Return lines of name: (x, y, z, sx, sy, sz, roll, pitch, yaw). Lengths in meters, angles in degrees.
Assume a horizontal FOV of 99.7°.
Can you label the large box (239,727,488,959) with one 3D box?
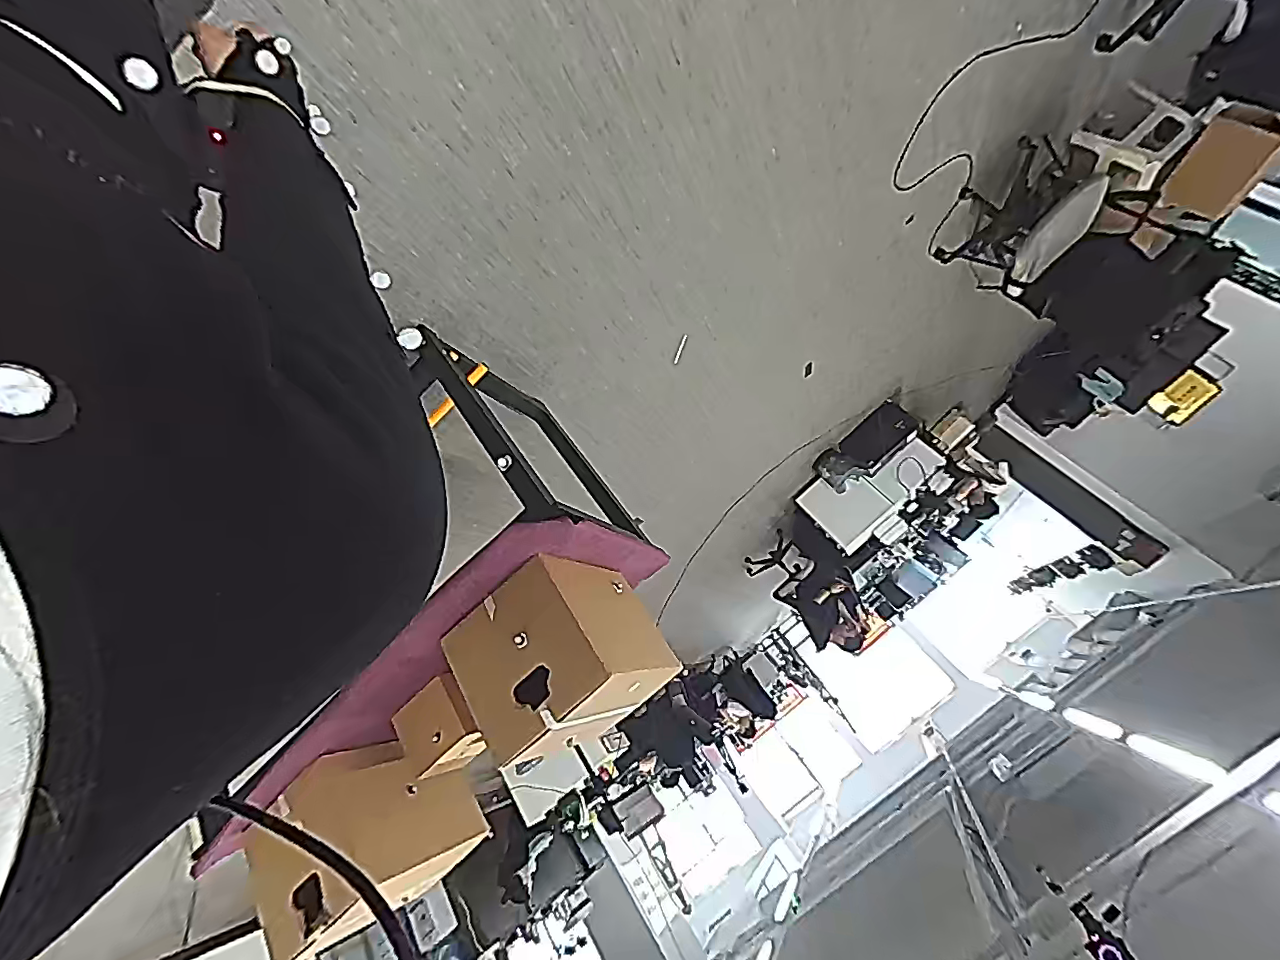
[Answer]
large box: (-0.678, 0.877, 1.359, 0.320, 0.320, 0.408, -43, 154, 7)
